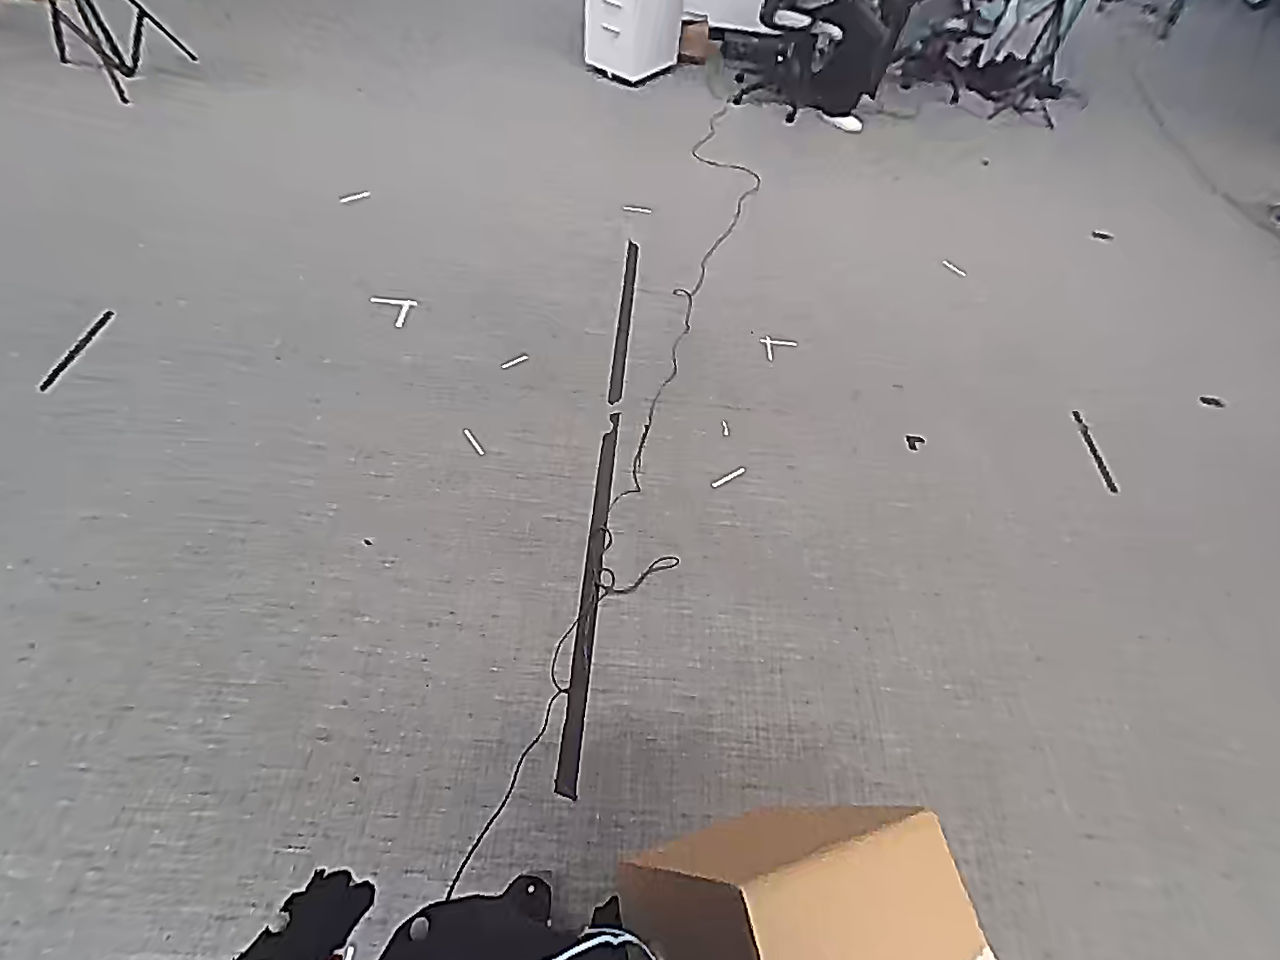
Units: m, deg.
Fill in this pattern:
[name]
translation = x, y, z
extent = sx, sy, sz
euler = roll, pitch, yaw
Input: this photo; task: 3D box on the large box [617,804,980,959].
[large box]
translation = 0.205, 0.670, 0.748
extent = 0.320, 0.408, 0.320
euler = -2, 61, -25
